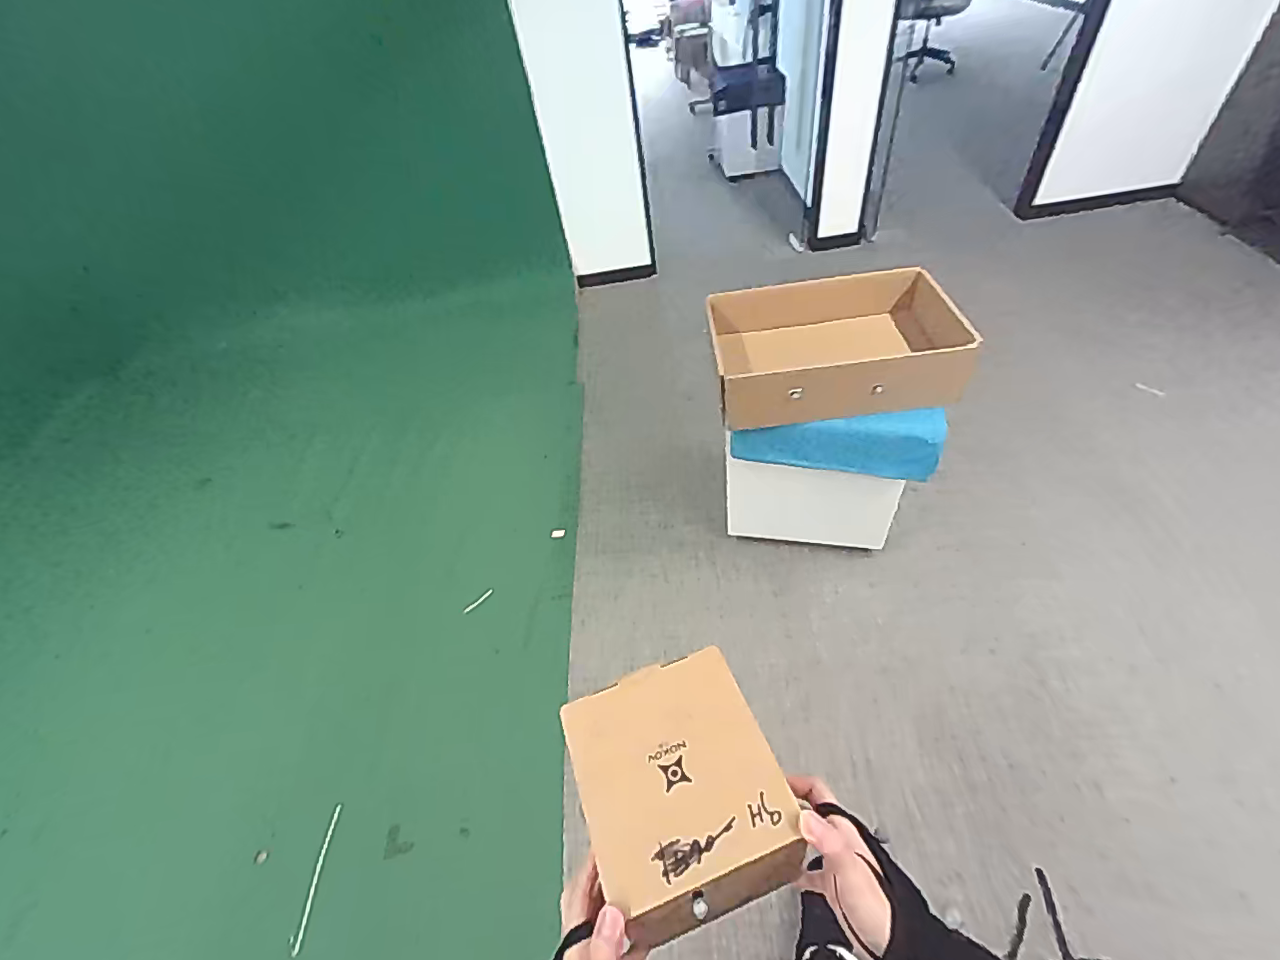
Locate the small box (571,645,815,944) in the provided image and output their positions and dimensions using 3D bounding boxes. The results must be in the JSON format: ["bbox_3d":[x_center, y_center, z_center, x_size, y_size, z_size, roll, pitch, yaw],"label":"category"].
[{"bbox_3d":[0.044,0.298,0.519,0.168,0.176,0.179,-18,43,-8],"label":"small box"}]
